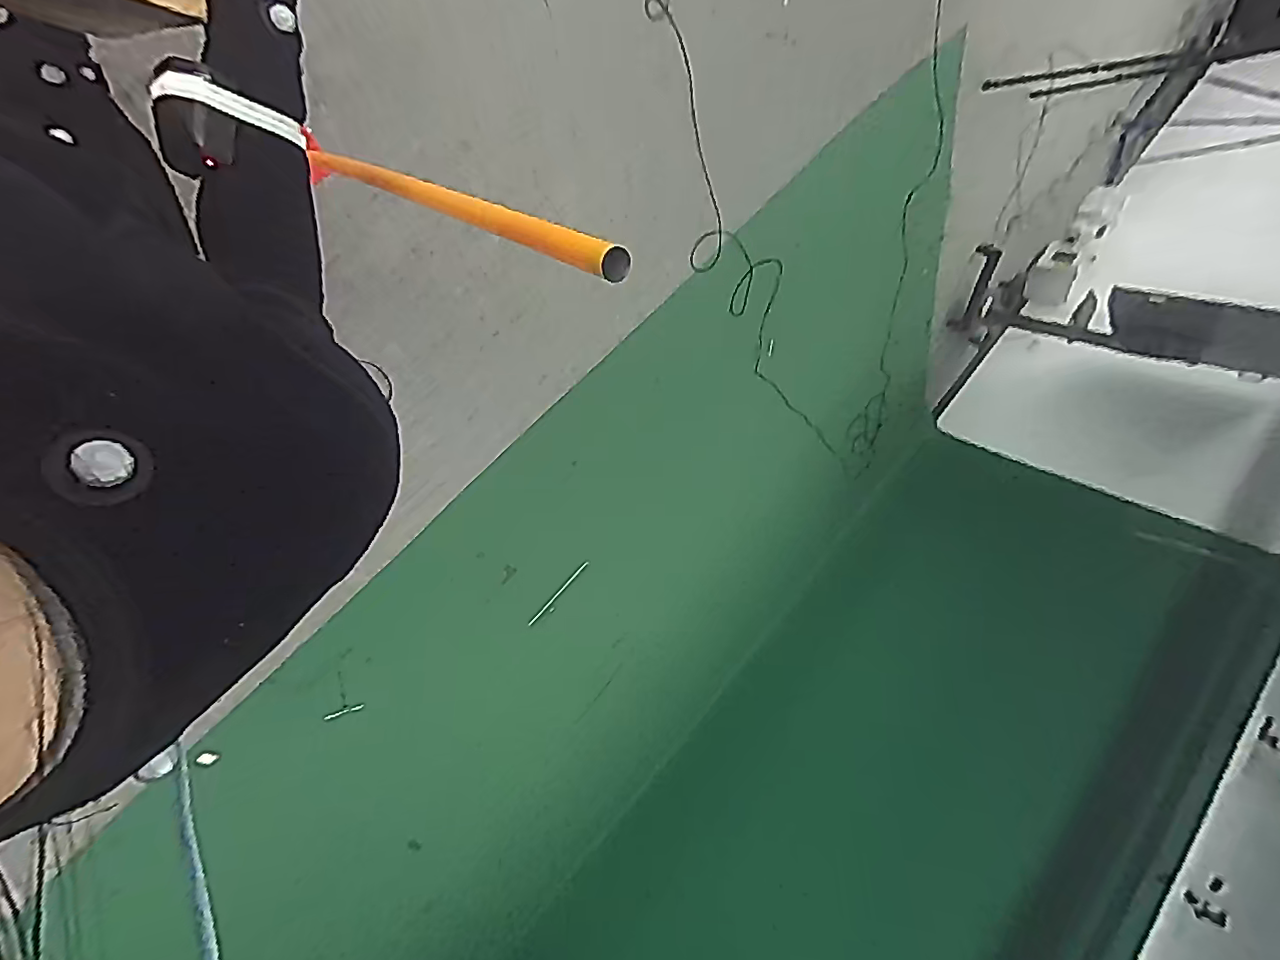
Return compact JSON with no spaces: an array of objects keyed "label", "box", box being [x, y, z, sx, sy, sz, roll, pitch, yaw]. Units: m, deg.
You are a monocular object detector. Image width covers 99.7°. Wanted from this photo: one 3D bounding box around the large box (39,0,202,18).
[{"label":"large box","box":[-0.517,-0.491,0.258,0.408,0.320,0.320,-17,126,-48]}]
